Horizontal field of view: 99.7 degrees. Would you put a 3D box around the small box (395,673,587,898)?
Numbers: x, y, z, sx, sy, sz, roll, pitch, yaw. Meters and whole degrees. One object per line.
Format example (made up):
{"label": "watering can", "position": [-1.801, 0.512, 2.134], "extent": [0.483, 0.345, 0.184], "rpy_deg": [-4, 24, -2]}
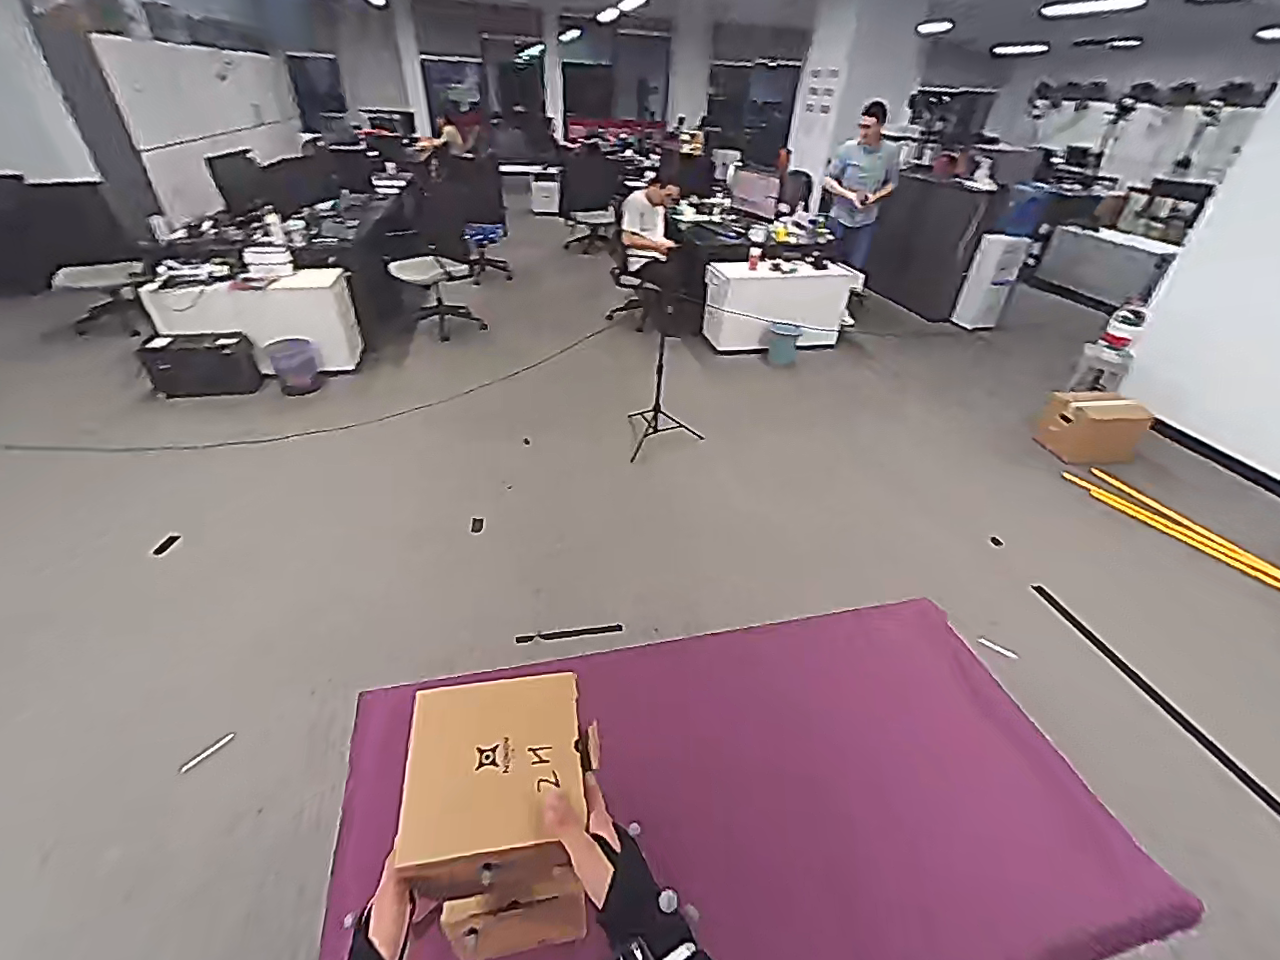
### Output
{"label": "small box", "position": [-0.152, 0.342, 0.607], "extent": [0.179, 0.176, 0.168], "rpy_deg": [-3, 44, -10]}
